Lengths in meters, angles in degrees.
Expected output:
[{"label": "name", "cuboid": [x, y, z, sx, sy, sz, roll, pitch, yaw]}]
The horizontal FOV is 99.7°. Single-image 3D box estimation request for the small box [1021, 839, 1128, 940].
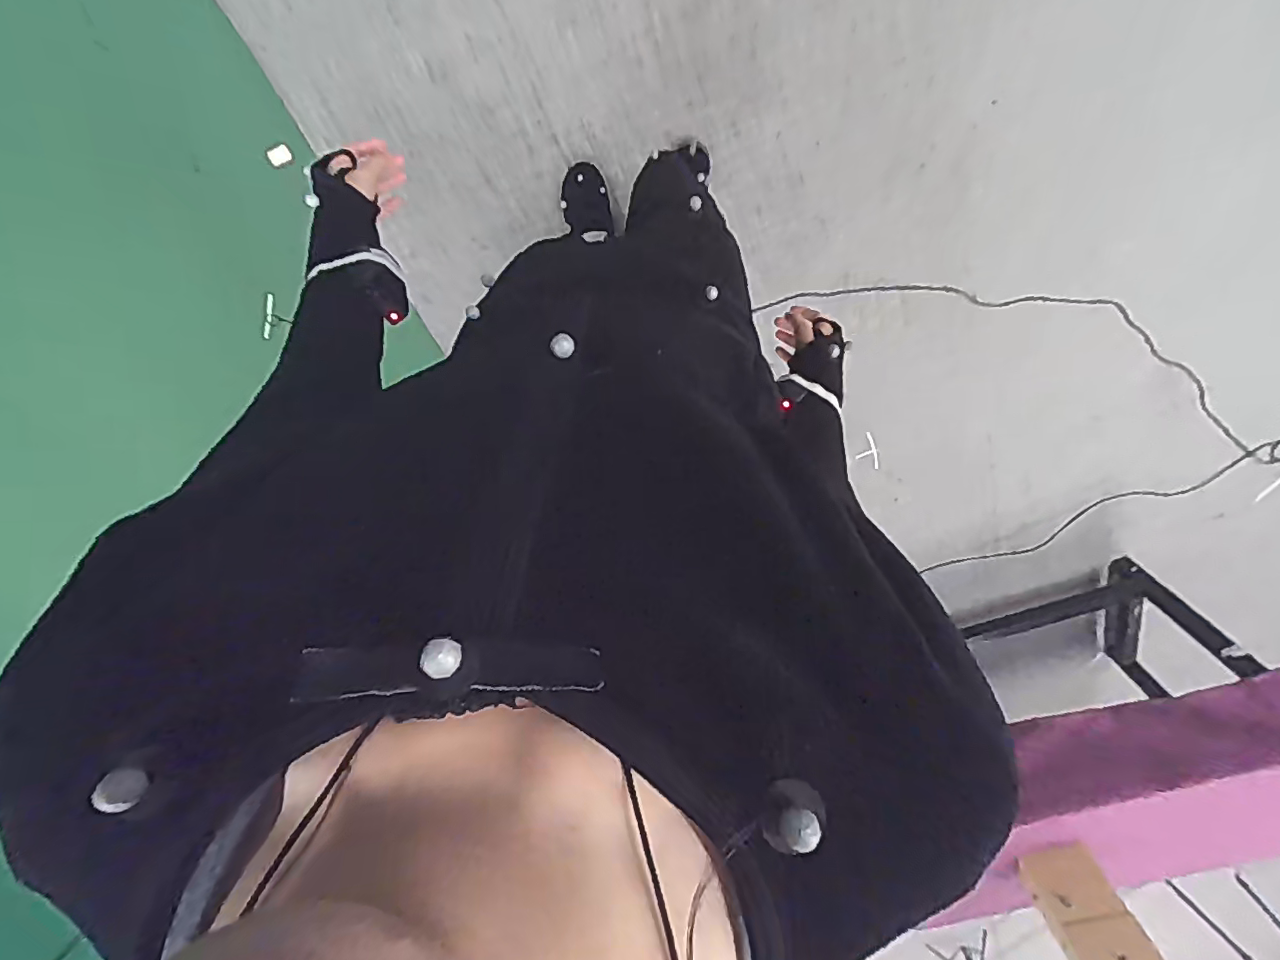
[{"label": "small box", "cuboid": [1.205, 1.145, 1.515, 0.179, 0.176, 0.168, -19, 122, 10]}]
